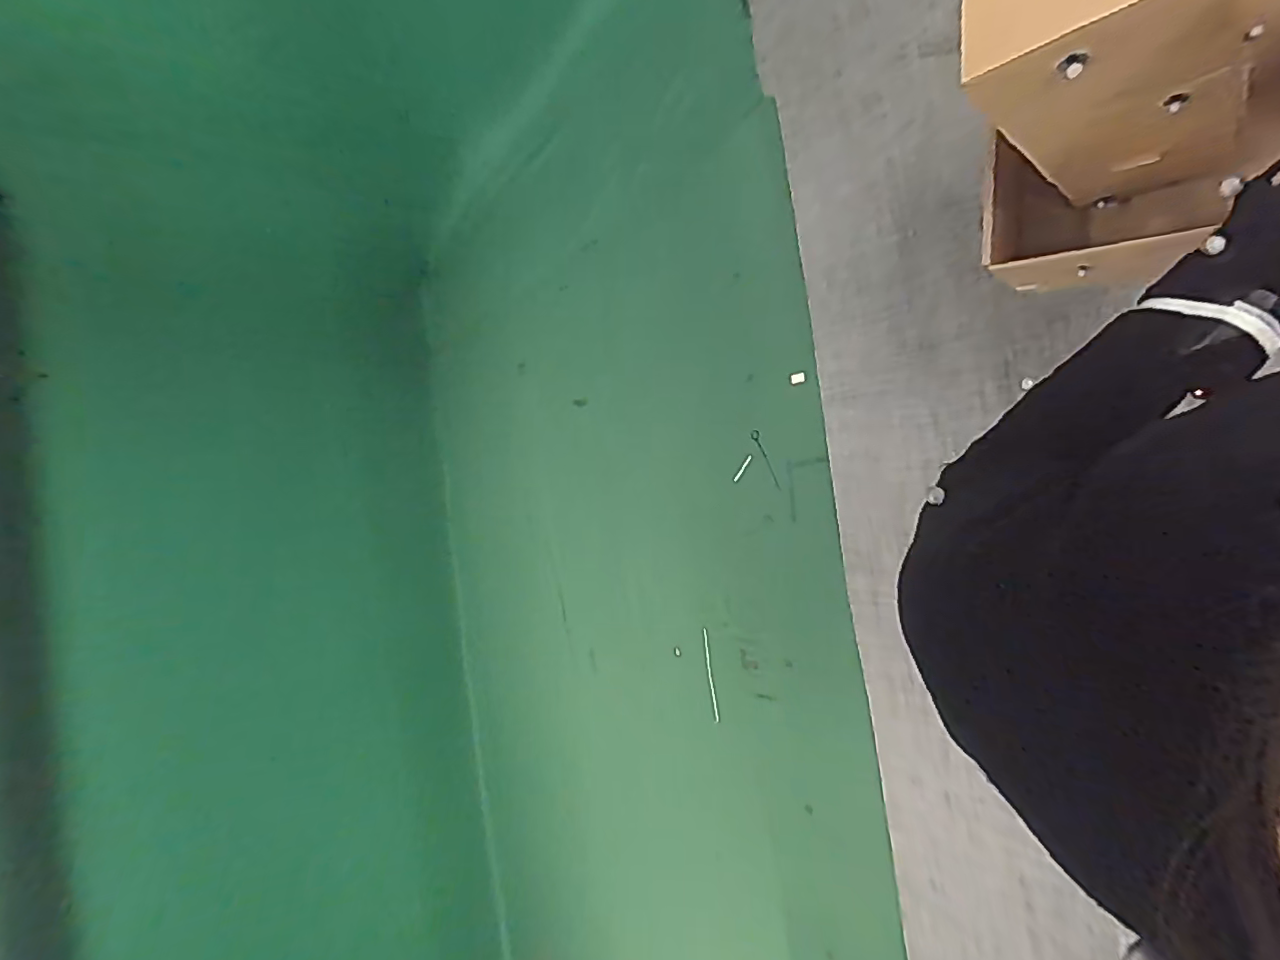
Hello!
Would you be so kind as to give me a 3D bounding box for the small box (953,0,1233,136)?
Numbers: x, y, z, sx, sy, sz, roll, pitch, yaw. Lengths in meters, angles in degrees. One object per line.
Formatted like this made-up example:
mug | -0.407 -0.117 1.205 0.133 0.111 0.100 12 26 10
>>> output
small box | 0.410 -0.452 0.490 0.179 0.176 0.168 3 98 47
